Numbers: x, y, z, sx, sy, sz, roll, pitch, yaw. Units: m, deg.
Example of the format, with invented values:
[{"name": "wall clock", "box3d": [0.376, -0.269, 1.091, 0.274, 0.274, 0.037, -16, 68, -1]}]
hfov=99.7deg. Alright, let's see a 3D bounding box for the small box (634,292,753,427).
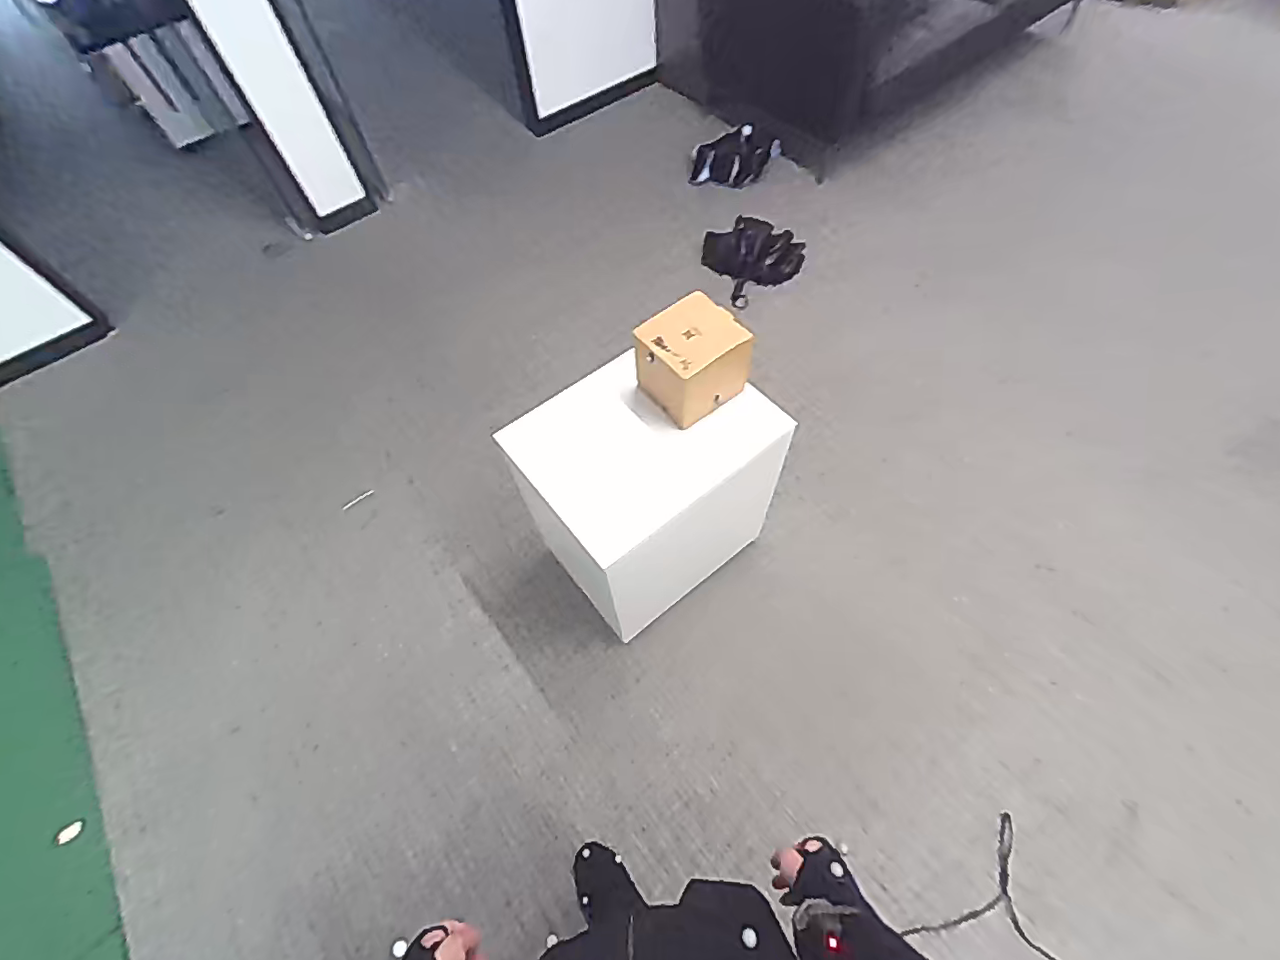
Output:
[{"name": "small box", "box3d": [0.101, -0.243, 1.113, 0.179, 0.176, 0.168, -33, 64, -17]}]
